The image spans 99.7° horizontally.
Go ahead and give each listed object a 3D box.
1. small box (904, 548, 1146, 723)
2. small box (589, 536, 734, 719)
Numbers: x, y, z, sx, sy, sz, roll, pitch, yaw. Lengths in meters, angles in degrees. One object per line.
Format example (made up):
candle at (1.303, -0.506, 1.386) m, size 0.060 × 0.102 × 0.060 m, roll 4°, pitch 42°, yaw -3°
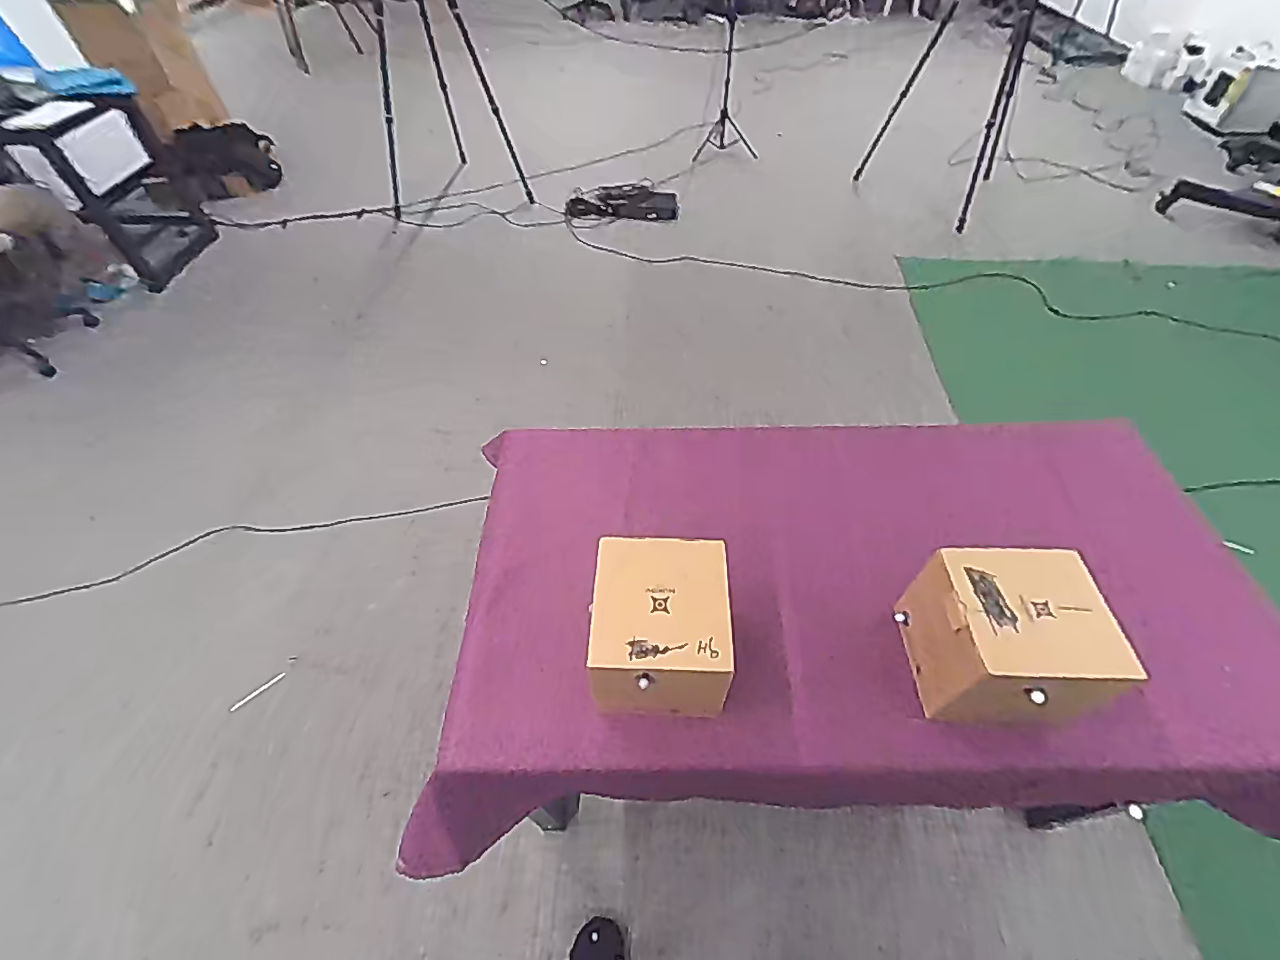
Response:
small box at (0.464, 0.203, 0.696) m, size 0.179 × 0.176 × 0.168 m, roll 1°, pitch 51°, yaw 2°
small box at (0.029, 0.195, 0.713) m, size 0.168 × 0.176 × 0.179 m, roll 1°, pitch 50°, yaw 3°
